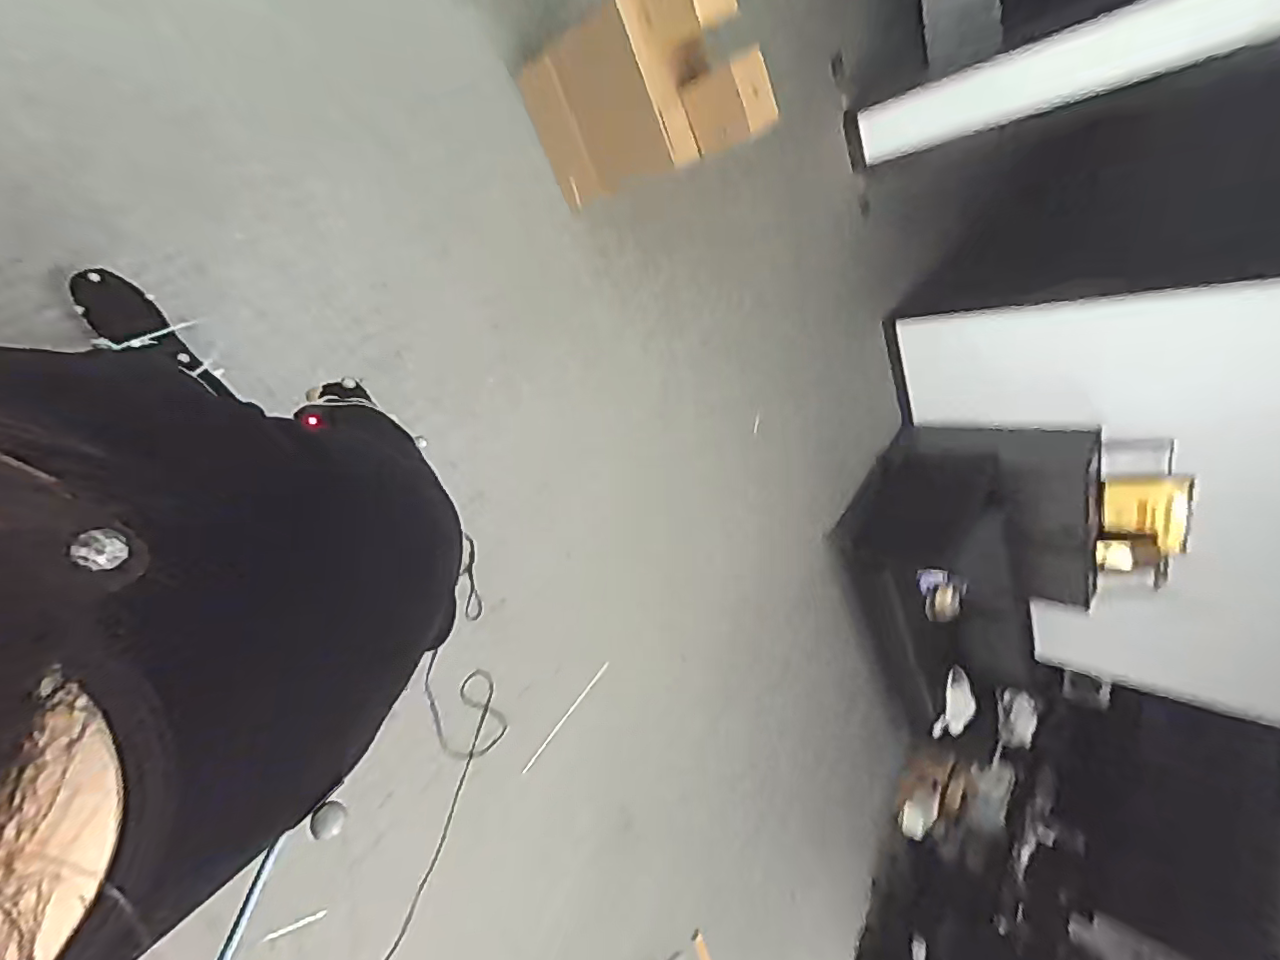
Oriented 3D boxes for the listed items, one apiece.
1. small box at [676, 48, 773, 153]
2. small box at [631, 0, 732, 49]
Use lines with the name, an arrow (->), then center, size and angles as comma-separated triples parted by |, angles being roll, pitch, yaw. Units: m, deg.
small box -> 0.230, -1.023, 1.474 | 0.168, 0.176, 0.179 | -49, 125, -30
small box -> 0.090, -1.187, 1.310 | 0.179, 0.176, 0.168 | -46, 127, -29
